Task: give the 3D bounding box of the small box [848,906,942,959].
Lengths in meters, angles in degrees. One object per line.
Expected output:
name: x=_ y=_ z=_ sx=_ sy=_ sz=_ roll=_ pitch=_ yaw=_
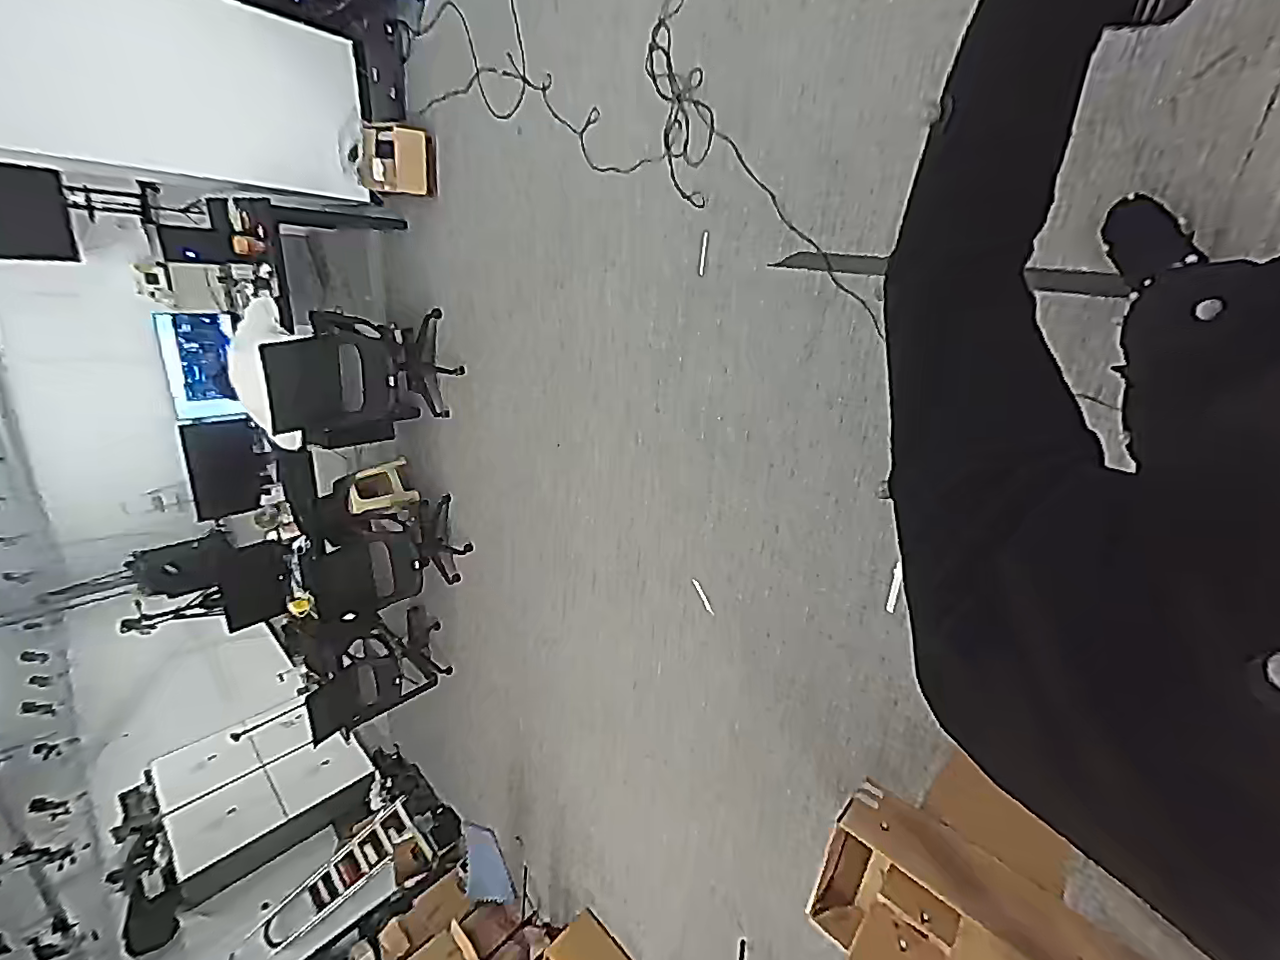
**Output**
small box: x=0.552 y=1.120 z=1.204 sx=0.168 sy=0.176 sz=0.179 roll=24 pitch=118 yaw=34
